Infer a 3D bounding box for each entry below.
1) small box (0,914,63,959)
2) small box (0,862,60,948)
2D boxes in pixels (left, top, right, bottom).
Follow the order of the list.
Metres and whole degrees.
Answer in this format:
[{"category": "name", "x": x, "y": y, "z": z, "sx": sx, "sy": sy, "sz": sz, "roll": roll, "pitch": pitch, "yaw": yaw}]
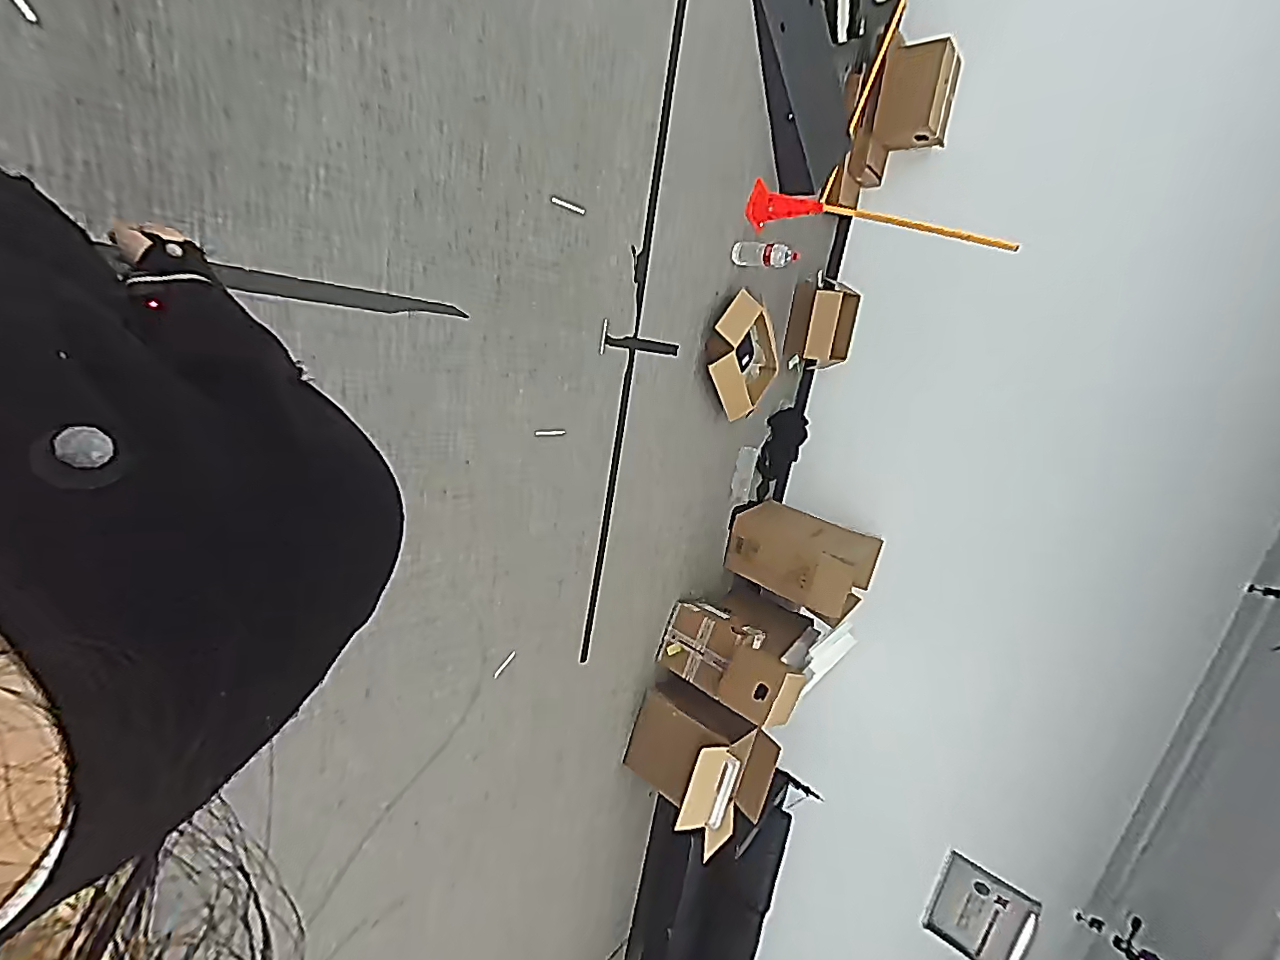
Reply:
[{"category": "small box", "x": -1.251, "y": 1.014, "z": 1.054, "sx": 0.168, "sy": 0.176, "sz": 0.179, "roll": -17, "pitch": 121, "yaw": -49}, {"category": "small box", "x": -1.377, "y": 0.963, "z": 1.147, "sx": 0.168, "sy": 0.176, "sz": 0.179, "roll": -15, "pitch": 119, "yaw": -49}]
